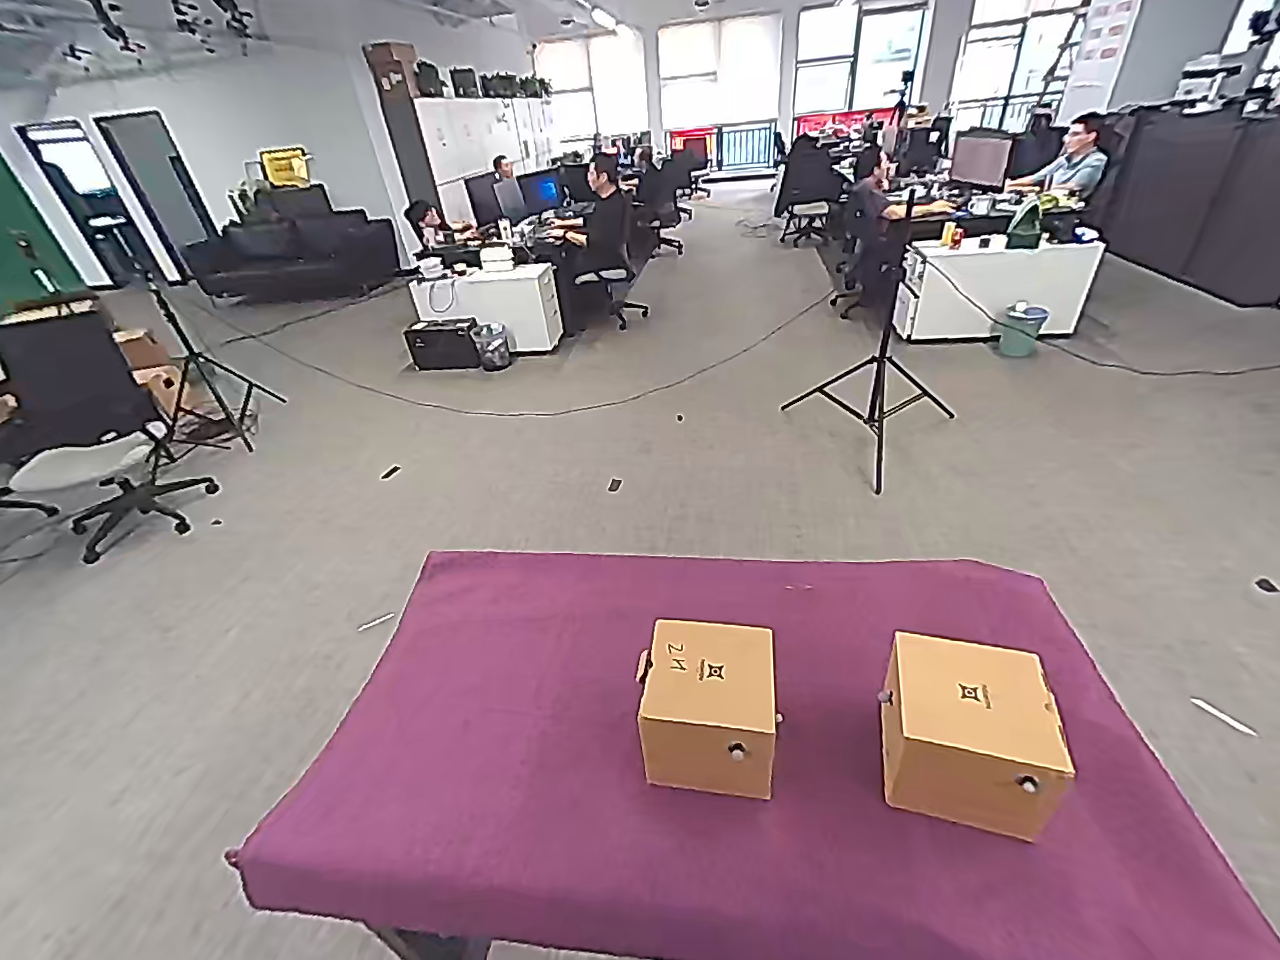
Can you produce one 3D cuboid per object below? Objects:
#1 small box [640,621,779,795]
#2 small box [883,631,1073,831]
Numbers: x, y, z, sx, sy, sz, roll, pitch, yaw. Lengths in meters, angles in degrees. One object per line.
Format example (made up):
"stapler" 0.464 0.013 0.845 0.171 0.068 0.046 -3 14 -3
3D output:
"small box" 0.105 0.330 0.788 0.179 0.176 0.168 1 34 11
"small box" 0.430 0.333 0.726 0.179 0.176 0.168 5 36 17
